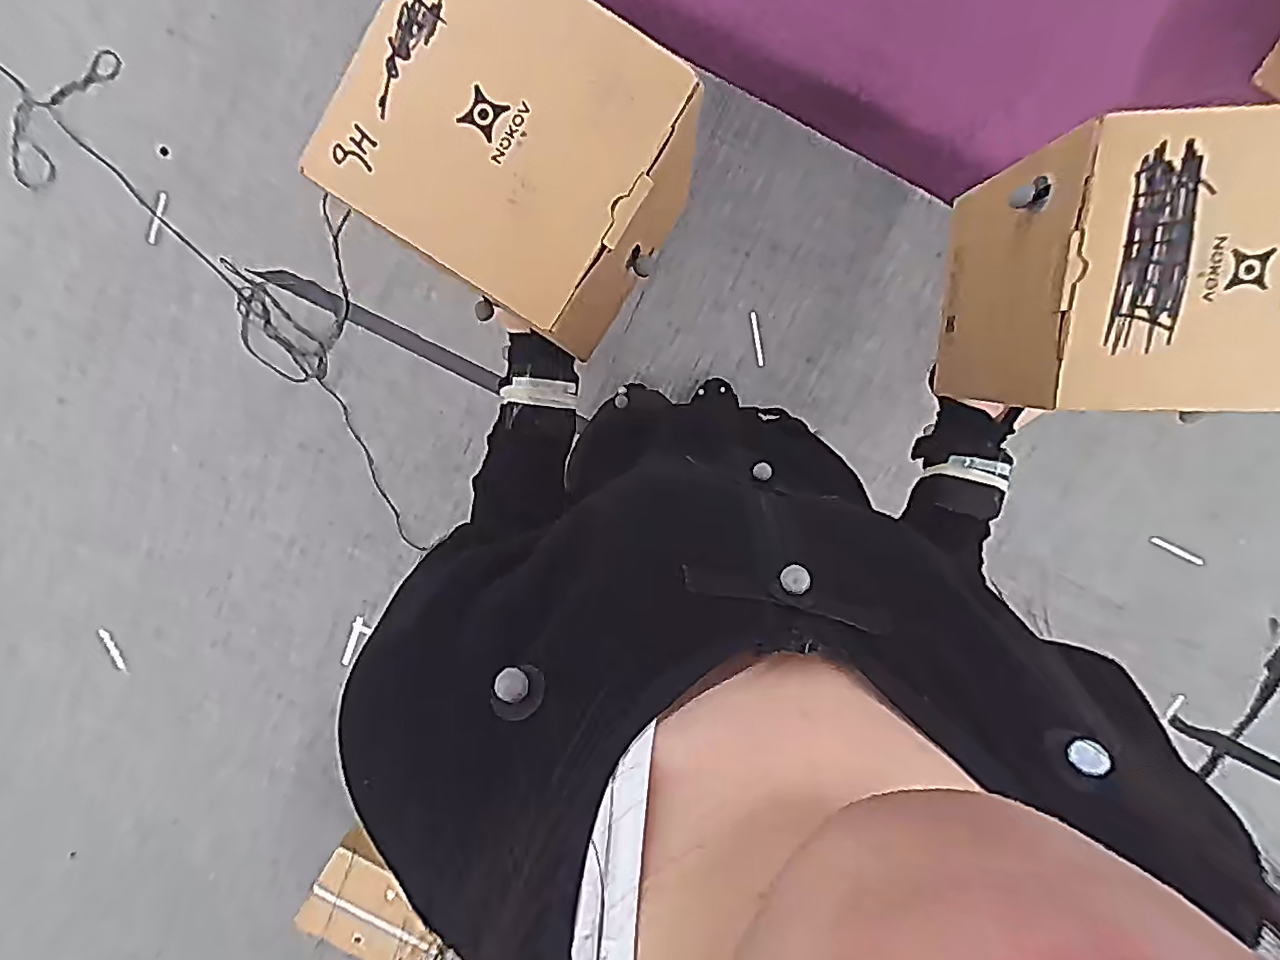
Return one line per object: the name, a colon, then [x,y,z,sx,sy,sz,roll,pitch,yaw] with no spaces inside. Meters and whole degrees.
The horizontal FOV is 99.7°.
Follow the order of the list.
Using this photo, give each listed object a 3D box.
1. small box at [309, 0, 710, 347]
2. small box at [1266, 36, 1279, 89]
small box: [-0.074,-0.210,0.384,0.179,0.176,0.168,33,96,-3]
small box: [0.816,-0.484,0.540,0.168,0.176,0.179,31,100,-2]
